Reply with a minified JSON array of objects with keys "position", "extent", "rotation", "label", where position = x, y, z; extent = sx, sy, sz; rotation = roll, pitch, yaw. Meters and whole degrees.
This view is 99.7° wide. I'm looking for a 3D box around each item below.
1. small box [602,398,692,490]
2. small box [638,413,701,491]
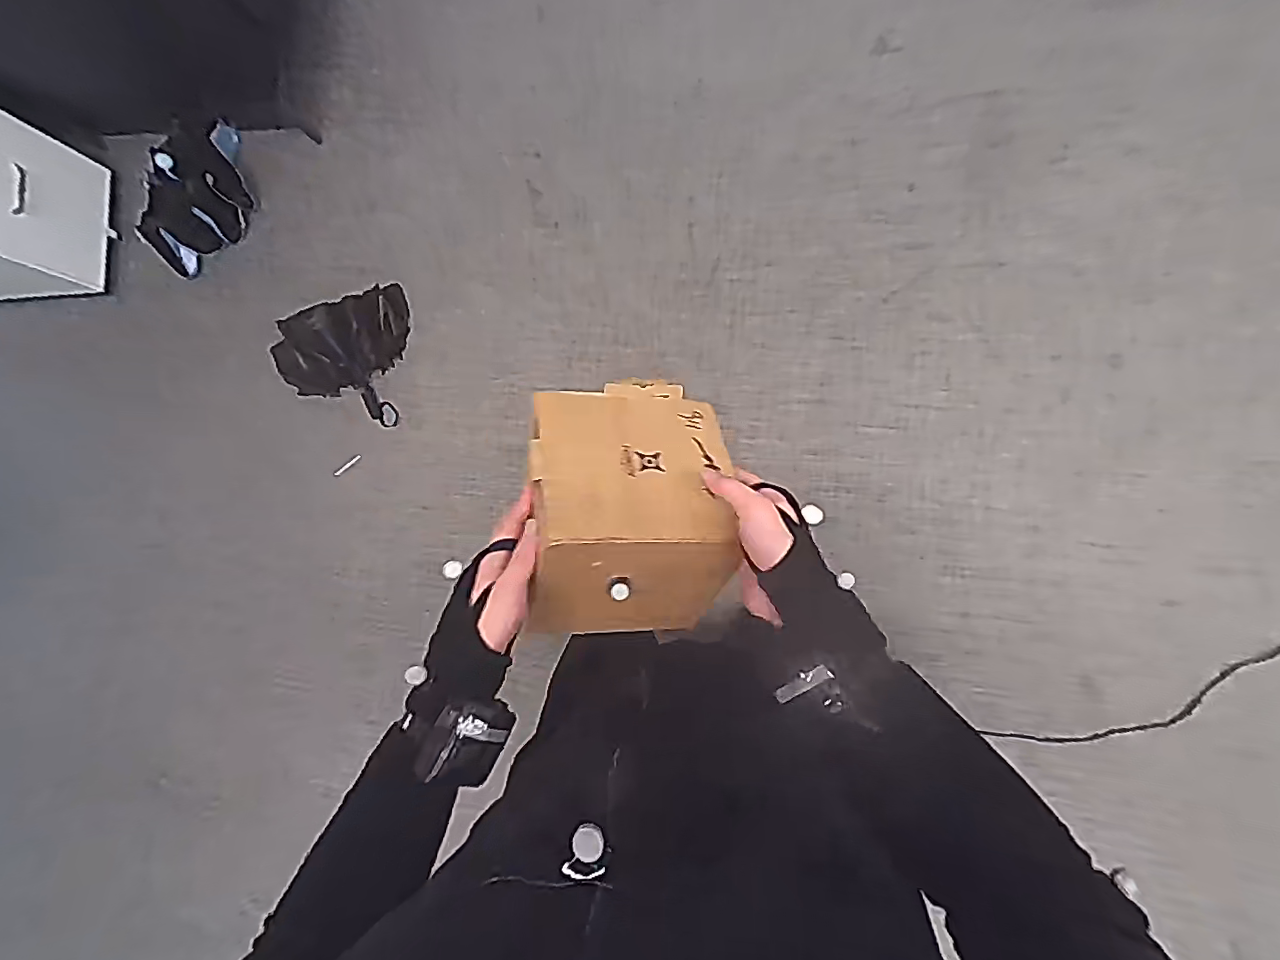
[{"position":[0.022,-0.074,1.179],"extent":[0.168,0.176,0.179],"rotation":[3,87,11],"label":"small box"},{"position":[0.061,-0.065,1.339],"extent":[0.168,0.176,0.179],"rotation":[1,87,12],"label":"small box"}]
